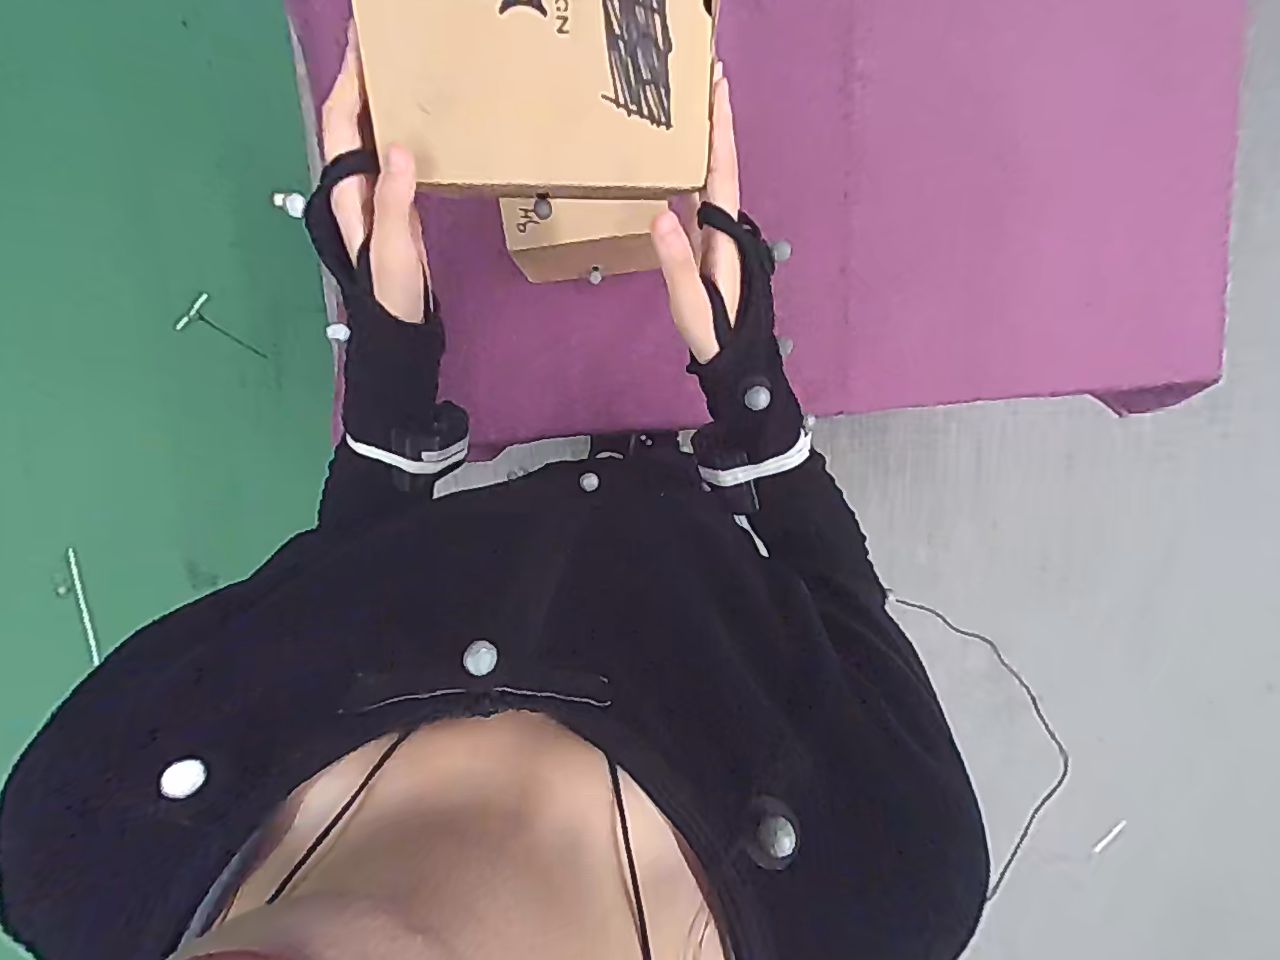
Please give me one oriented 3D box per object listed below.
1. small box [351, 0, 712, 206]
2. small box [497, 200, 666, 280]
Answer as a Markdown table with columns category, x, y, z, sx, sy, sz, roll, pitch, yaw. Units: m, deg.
| category | x | y | z | sx | sy | sz | roll | pitch | yaw |
| --- | --- | --- | --- | --- | --- | --- | --- | --- | --- |
| small box | -0.058 | -0.264 | 0.333 | 0.179 | 0.176 | 0.168 | -1 | 116 | -5 |
| small box | -0.071 | -0.344 | 0.640 | 0.179 | 0.176 | 0.168 | -7 | 99 | -1 |
